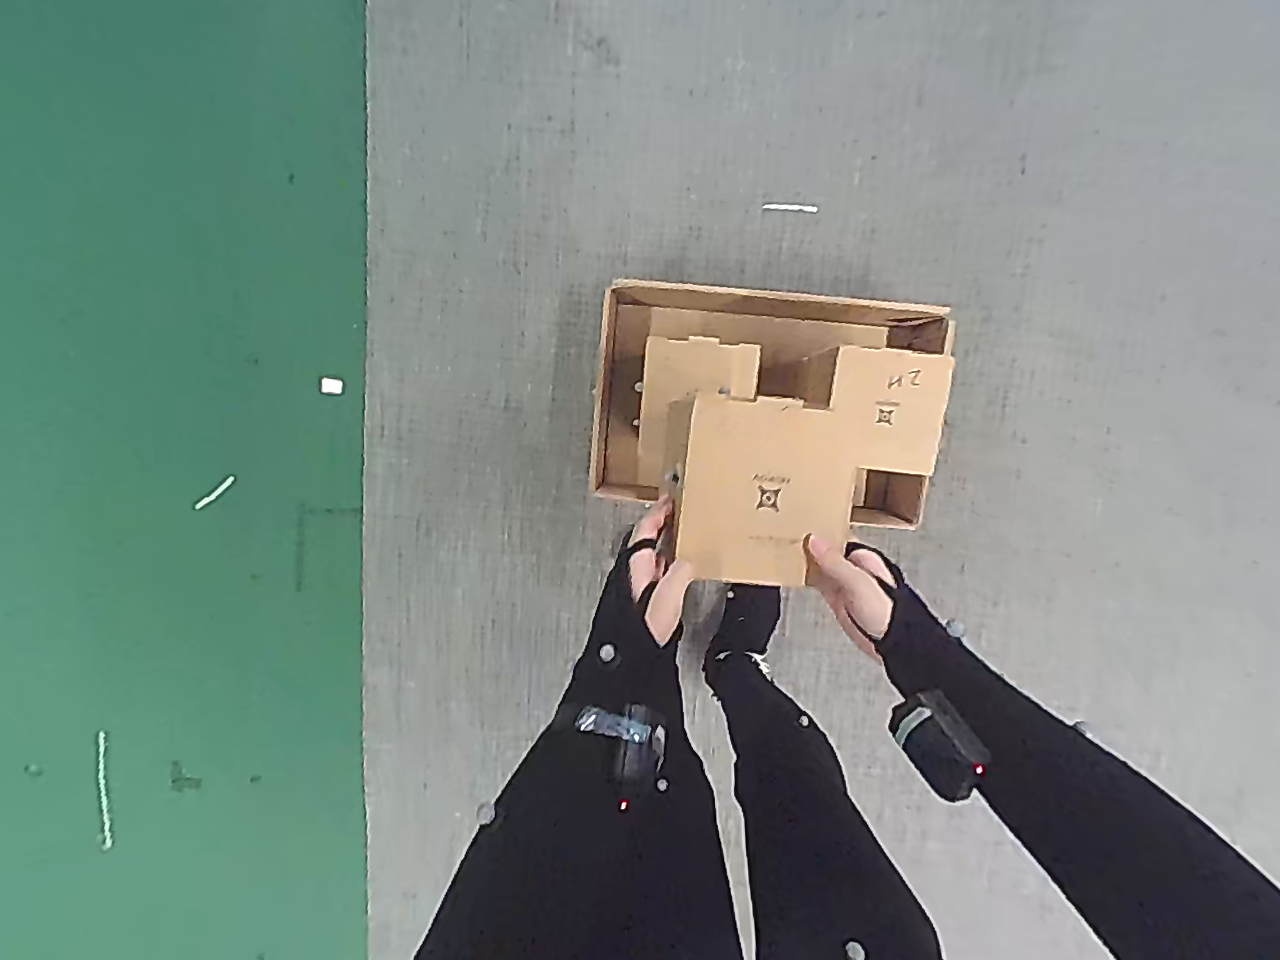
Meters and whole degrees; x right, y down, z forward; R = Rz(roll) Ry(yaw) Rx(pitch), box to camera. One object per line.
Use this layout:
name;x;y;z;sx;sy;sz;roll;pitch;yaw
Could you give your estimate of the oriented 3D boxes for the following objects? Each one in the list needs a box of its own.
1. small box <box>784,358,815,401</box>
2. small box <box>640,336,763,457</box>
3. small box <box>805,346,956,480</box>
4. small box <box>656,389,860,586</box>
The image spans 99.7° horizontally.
small box;0.368;-0.127;1.021;0.168;0.176;0.179;7;98;2
small box;0.090;-0.124;0.863;0.168;0.176;0.179;5;98;2
small box;0.361;-0.107;0.857;0.168;0.176;0.179;7;98;2
small box;0.113;0.002;0.590;0.168;0.176;0.179;6;96;-5
